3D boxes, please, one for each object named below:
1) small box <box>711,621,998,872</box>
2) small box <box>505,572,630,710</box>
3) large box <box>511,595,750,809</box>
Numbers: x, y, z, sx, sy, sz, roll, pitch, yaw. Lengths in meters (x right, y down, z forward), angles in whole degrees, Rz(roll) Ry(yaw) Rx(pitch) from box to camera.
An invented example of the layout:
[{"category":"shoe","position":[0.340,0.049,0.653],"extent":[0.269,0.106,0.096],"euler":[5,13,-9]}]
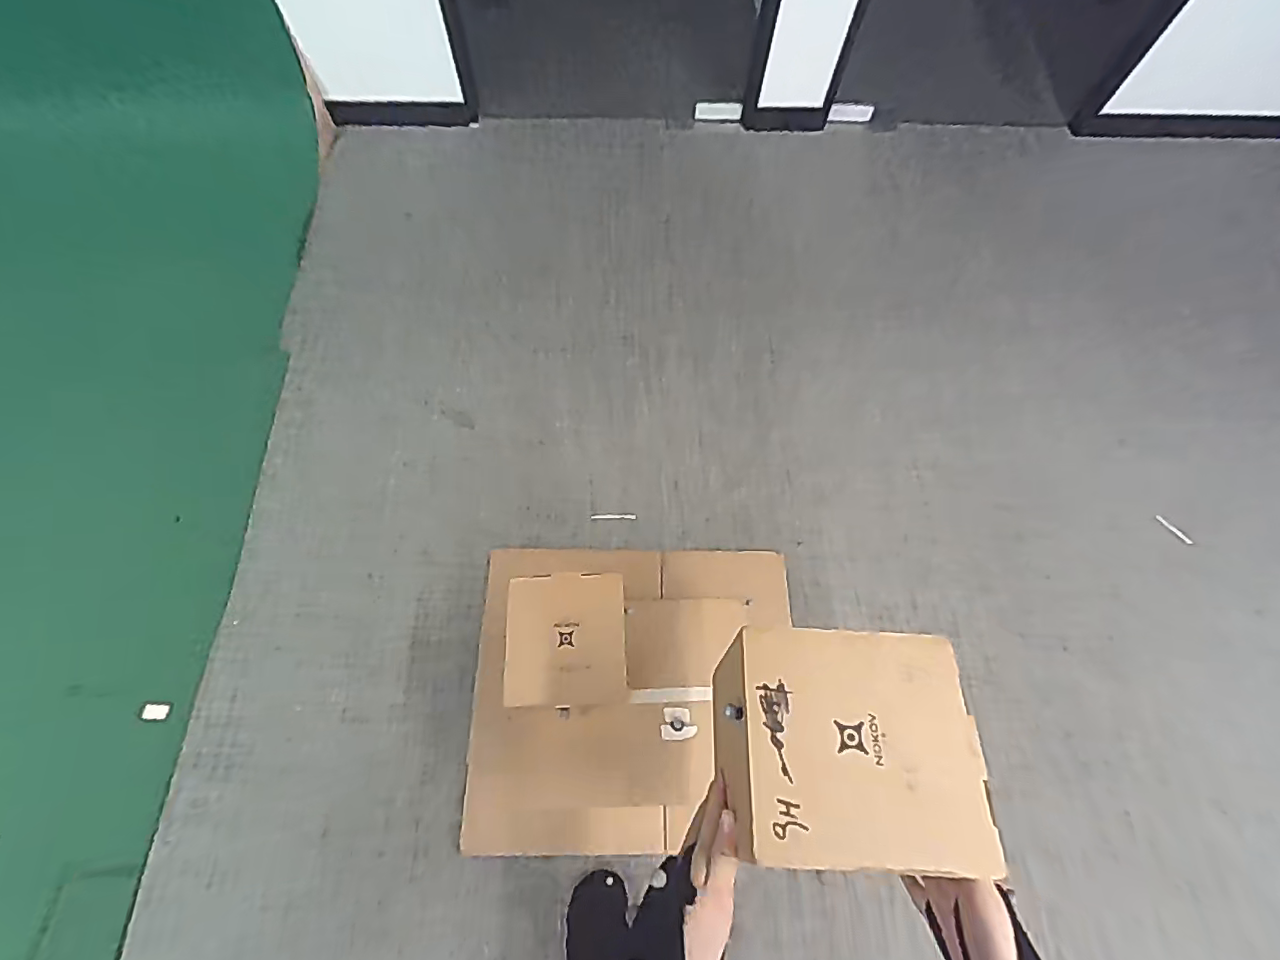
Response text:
[{"category":"small box","position":[0.164,0.237,0.483],"extent":[0.179,0.176,0.168],"euler":[4,57,0]},{"category":"small box","position":[-0.102,0.247,0.815],"extent":[0.168,0.176,0.179],"euler":[-2,66,-3]},{"category":"large box","position":[-0.013,0.407,1.015],"extent":[0.408,0.320,0.320],"euler":[0,67,-4]}]
